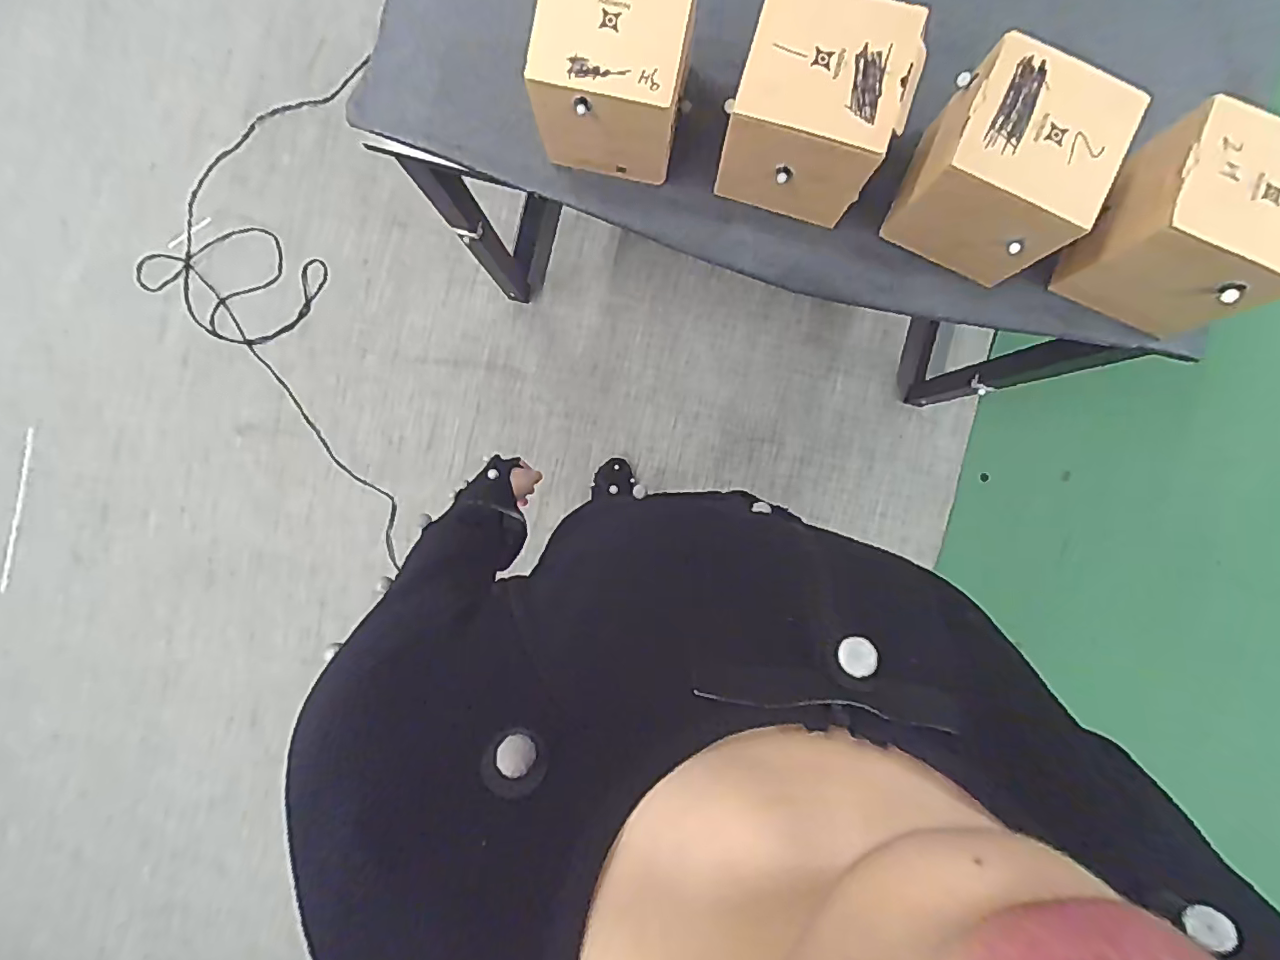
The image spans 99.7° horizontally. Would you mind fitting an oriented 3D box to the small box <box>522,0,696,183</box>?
[{"bbox_3d":[-0.031,-0.507,0.663,0.168,0.176,0.179,13,91,1],"label":"small box"}]
